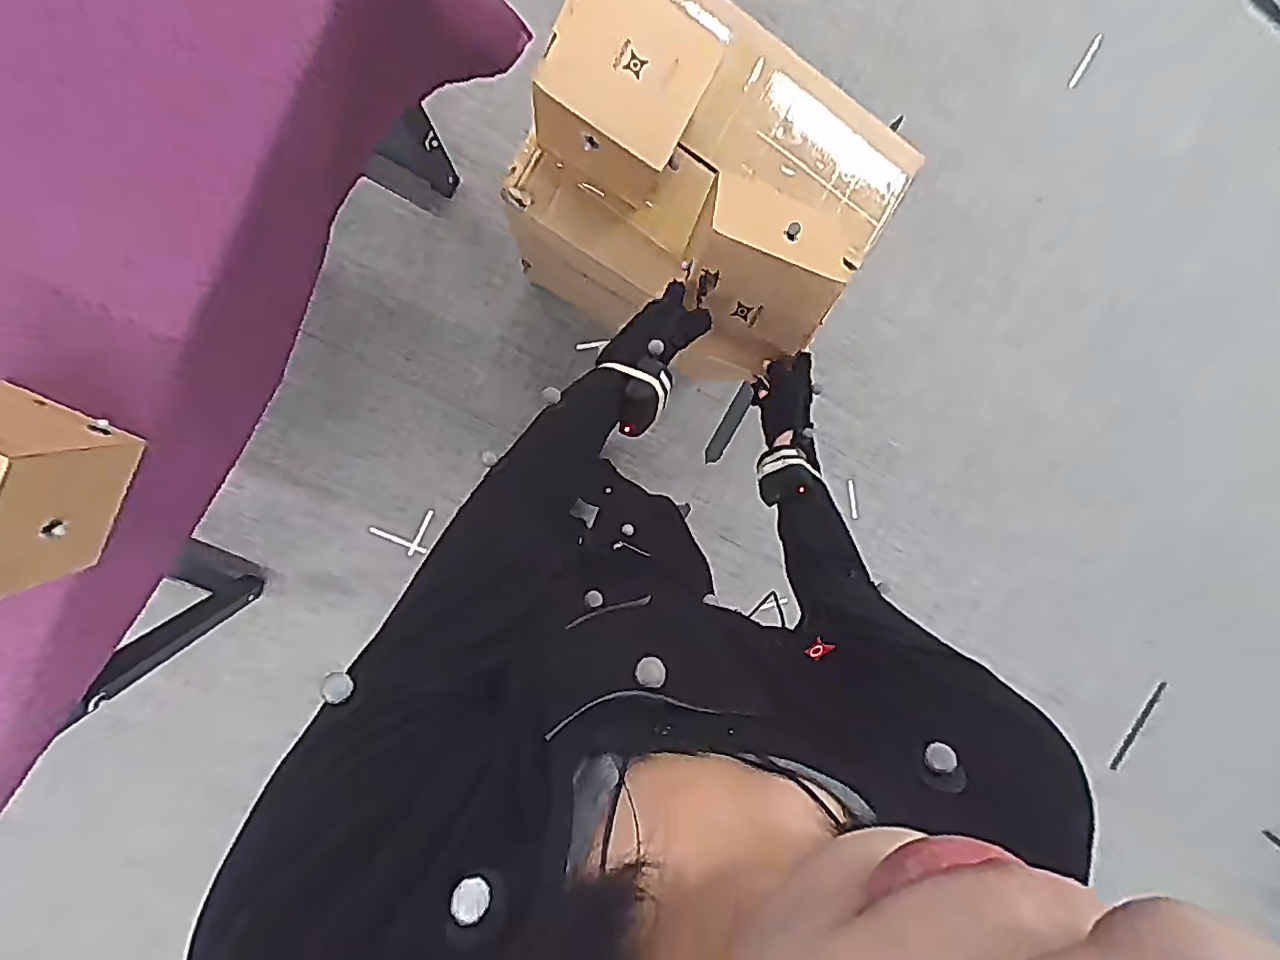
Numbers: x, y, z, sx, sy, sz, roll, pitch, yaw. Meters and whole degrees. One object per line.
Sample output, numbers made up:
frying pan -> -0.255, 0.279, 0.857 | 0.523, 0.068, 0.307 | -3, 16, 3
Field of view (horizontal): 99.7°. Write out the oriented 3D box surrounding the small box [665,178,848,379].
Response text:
small box -> 0.148, -0.271, 0.726 | 0.179, 0.176, 0.168 | 17, 139, -9

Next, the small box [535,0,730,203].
small box -> -0.018, -0.494, 0.698 | 0.179, 0.176, 0.168 | 28, 96, -12

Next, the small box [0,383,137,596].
small box -> -0.699, 0.004, 0.571 | 0.168, 0.176, 0.179 | 26, 95, -10
